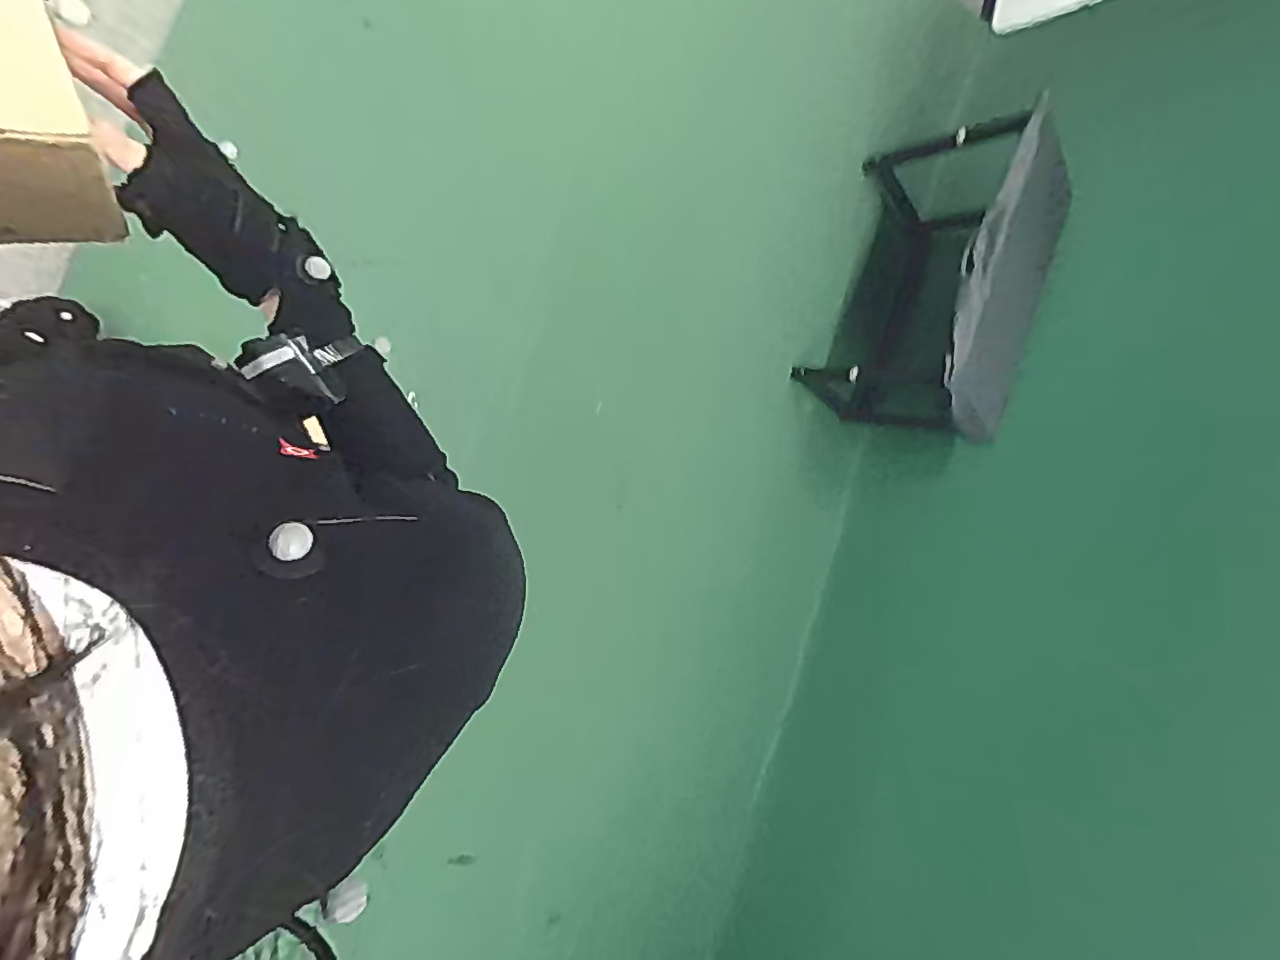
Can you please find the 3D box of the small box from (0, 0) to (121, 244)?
[{"bbox_3d":[-0.396,-0.227,0.260,0.168,0.176,0.179,-24,108,-36],"label":"small box"}]
